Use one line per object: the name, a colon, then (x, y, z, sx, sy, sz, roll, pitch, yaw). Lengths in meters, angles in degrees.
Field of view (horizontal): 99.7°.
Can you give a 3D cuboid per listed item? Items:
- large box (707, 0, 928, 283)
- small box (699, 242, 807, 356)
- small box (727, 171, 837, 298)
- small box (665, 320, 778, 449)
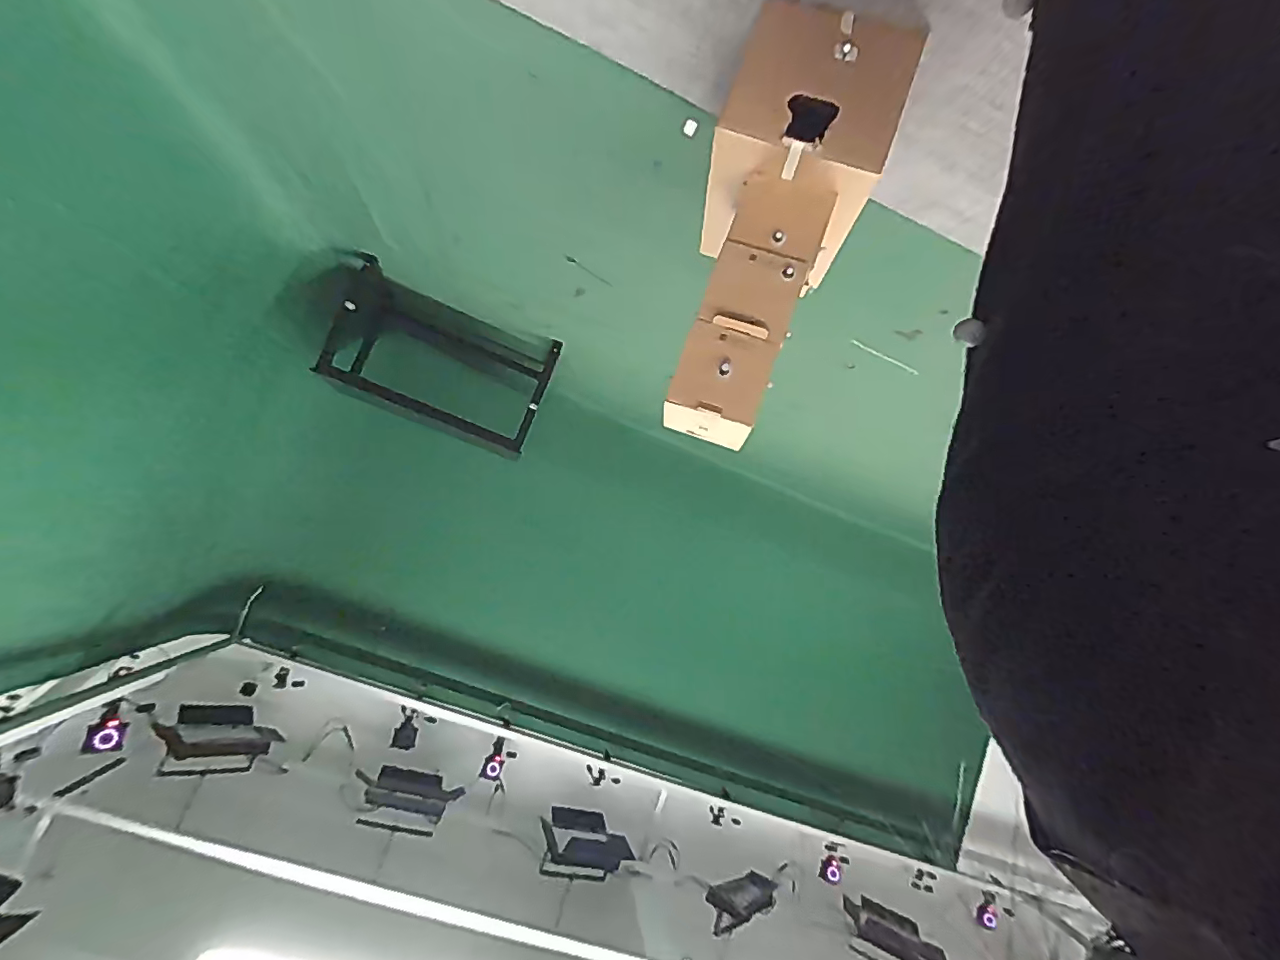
large box: (0.350, -0.706, 1.171, 0.320, 0.320, 0.408, 21, 173, 6)
small box: (0.214, -0.334, 1.065, 0.168, 0.176, 0.179, 20, 172, 6)
small box: (0.275, -0.483, 1.092, 0.179, 0.176, 0.168, 20, 171, 5)
small box: (0.155, -0.182, 1.043, 0.168, 0.176, 0.179, 20, 170, 6)
